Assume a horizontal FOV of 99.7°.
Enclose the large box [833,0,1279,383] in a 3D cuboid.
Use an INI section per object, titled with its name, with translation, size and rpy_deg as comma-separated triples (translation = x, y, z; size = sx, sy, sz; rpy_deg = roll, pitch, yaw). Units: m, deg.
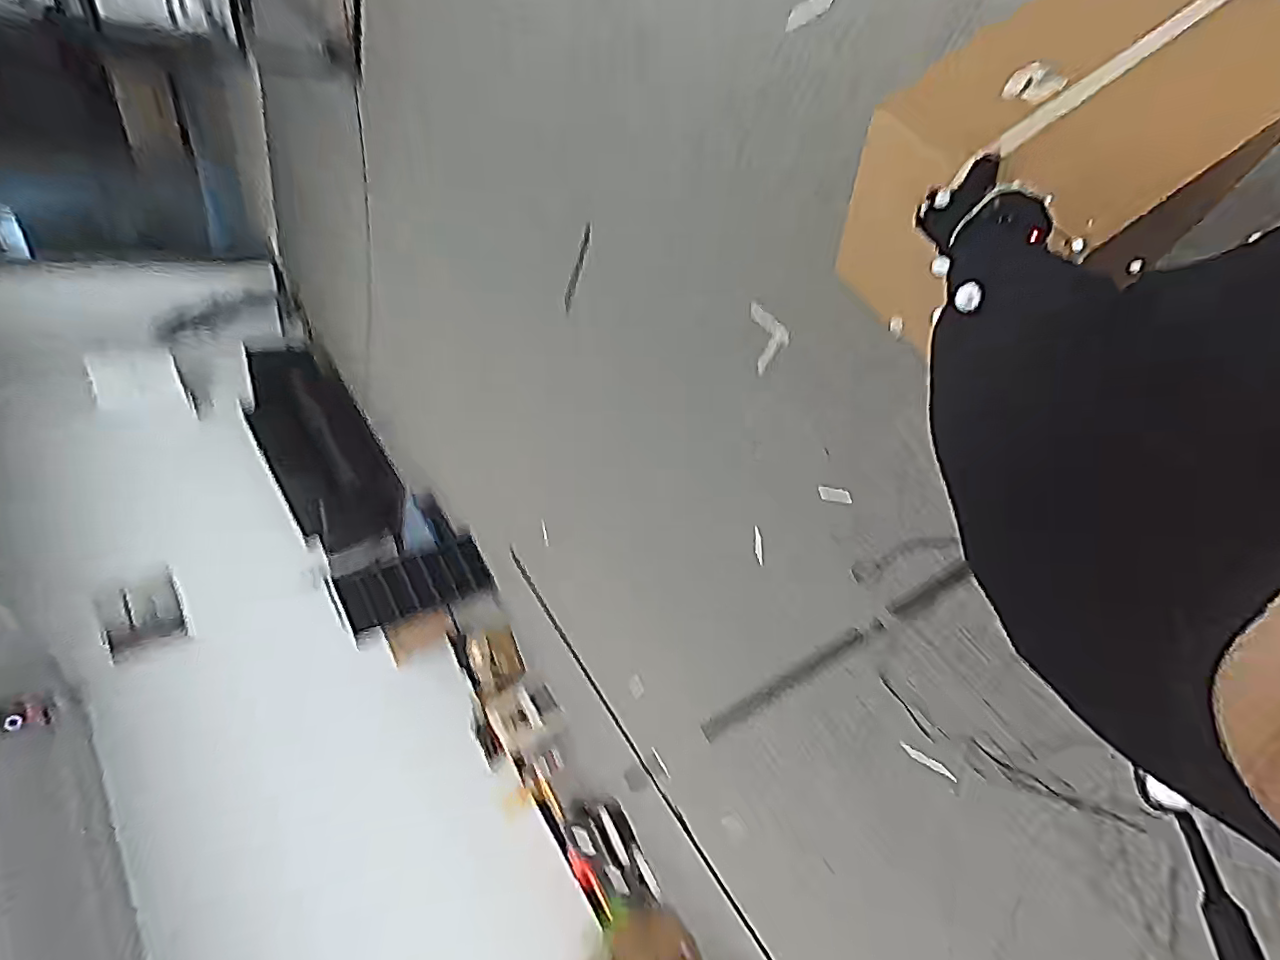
[large box]
translation = 0.558, -0.423, 0.784
size = 0.320, 0.408, 0.320
rpy_deg = 54, 179, 21
